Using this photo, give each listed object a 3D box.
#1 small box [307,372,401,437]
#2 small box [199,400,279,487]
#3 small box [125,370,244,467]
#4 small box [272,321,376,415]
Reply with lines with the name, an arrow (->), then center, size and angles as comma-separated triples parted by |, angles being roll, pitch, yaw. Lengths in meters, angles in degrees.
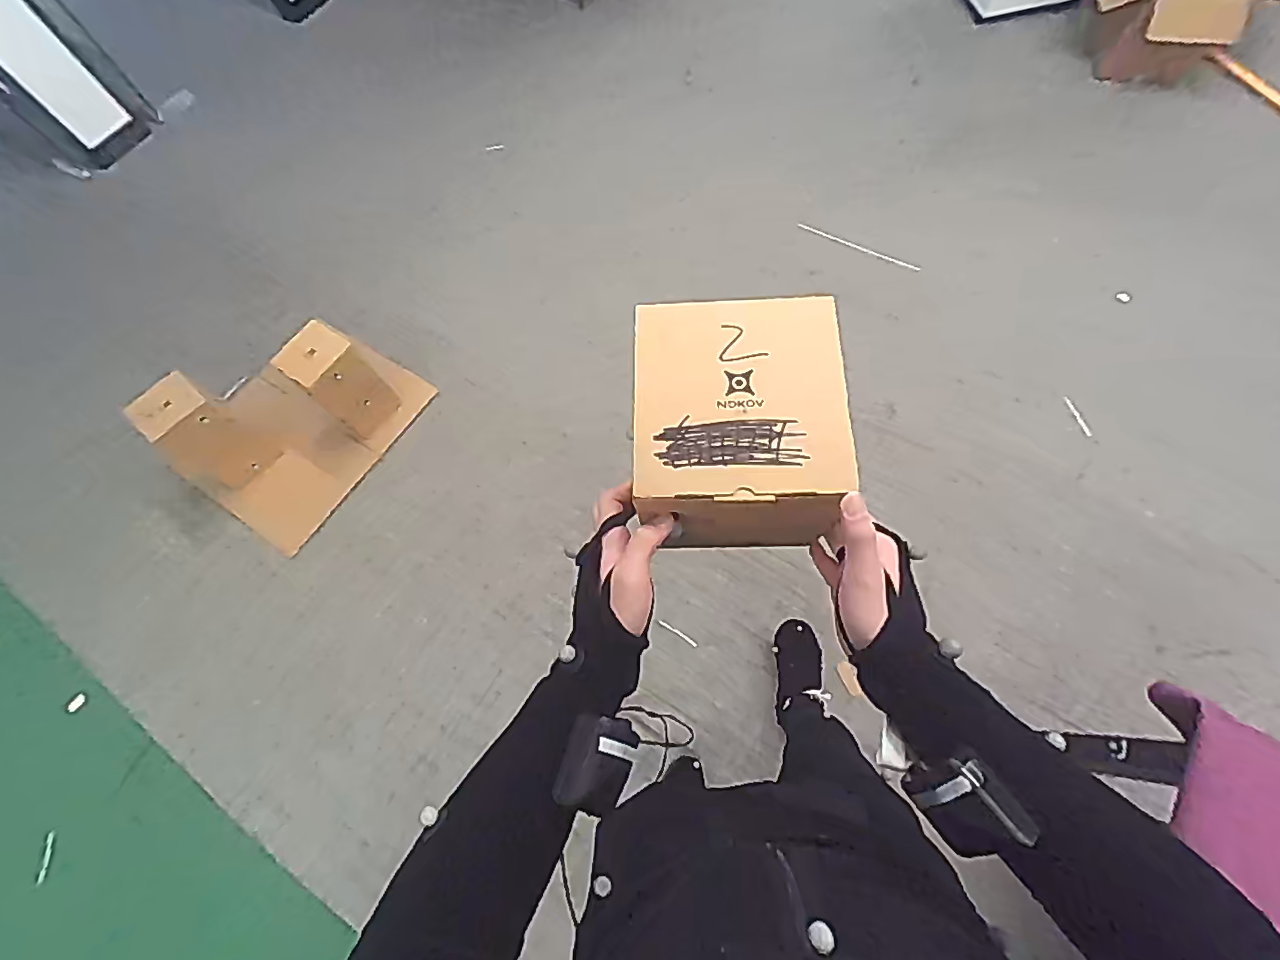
small box -> -0.914, -0.268, 1.747 | 0.168, 0.176, 0.179 | 31, 73, 15
small box -> -1.284, -0.110, 1.702 | 0.168, 0.176, 0.179 | 38, 75, 17
small box -> -1.287, -0.172, 1.548 | 0.168, 0.176, 0.179 | 38, 75, 17
small box -> -0.918, -0.326, 1.596 | 0.168, 0.176, 0.179 | 31, 74, 14
